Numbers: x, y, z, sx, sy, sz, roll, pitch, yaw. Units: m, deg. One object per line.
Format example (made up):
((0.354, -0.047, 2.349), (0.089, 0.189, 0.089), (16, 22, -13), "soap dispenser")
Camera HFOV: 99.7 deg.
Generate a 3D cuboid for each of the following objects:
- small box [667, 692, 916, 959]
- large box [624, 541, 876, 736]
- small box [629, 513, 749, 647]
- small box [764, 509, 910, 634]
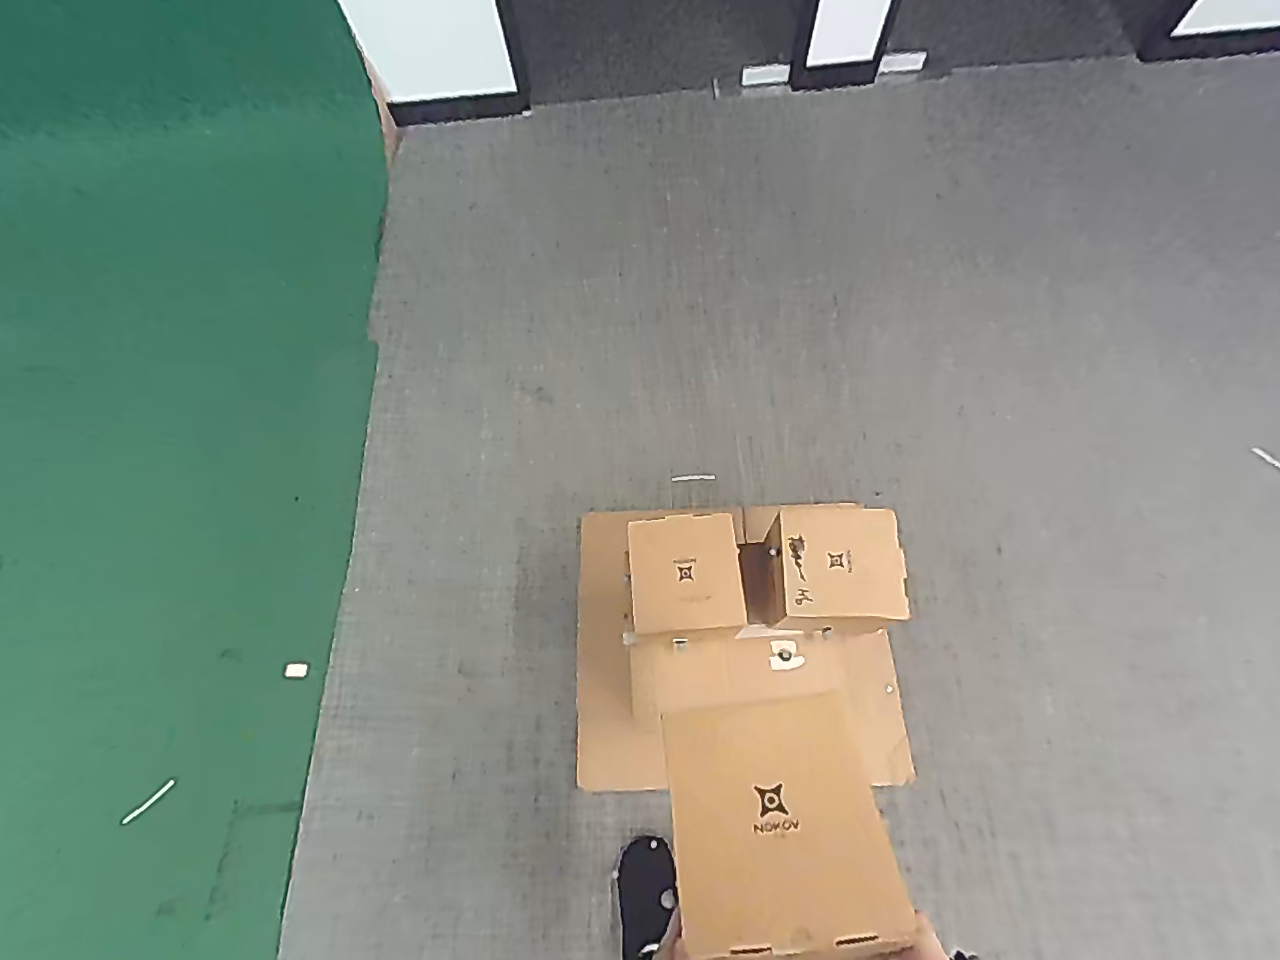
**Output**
((0.115, 0.321, 0.494), (0.168, 0.176, 0.179), (-7, 43, 1), "small box")
((0.182, 0.317, 1.074), (0.408, 0.320, 0.320), (-4, 68, 0), "large box")
((0.072, 0.167, 0.878), (0.168, 0.176, 0.179), (-6, 68, 1), "small box")
((0.303, 0.153, 0.869), (0.179, 0.176, 0.168), (1, 68, 4), "small box")
